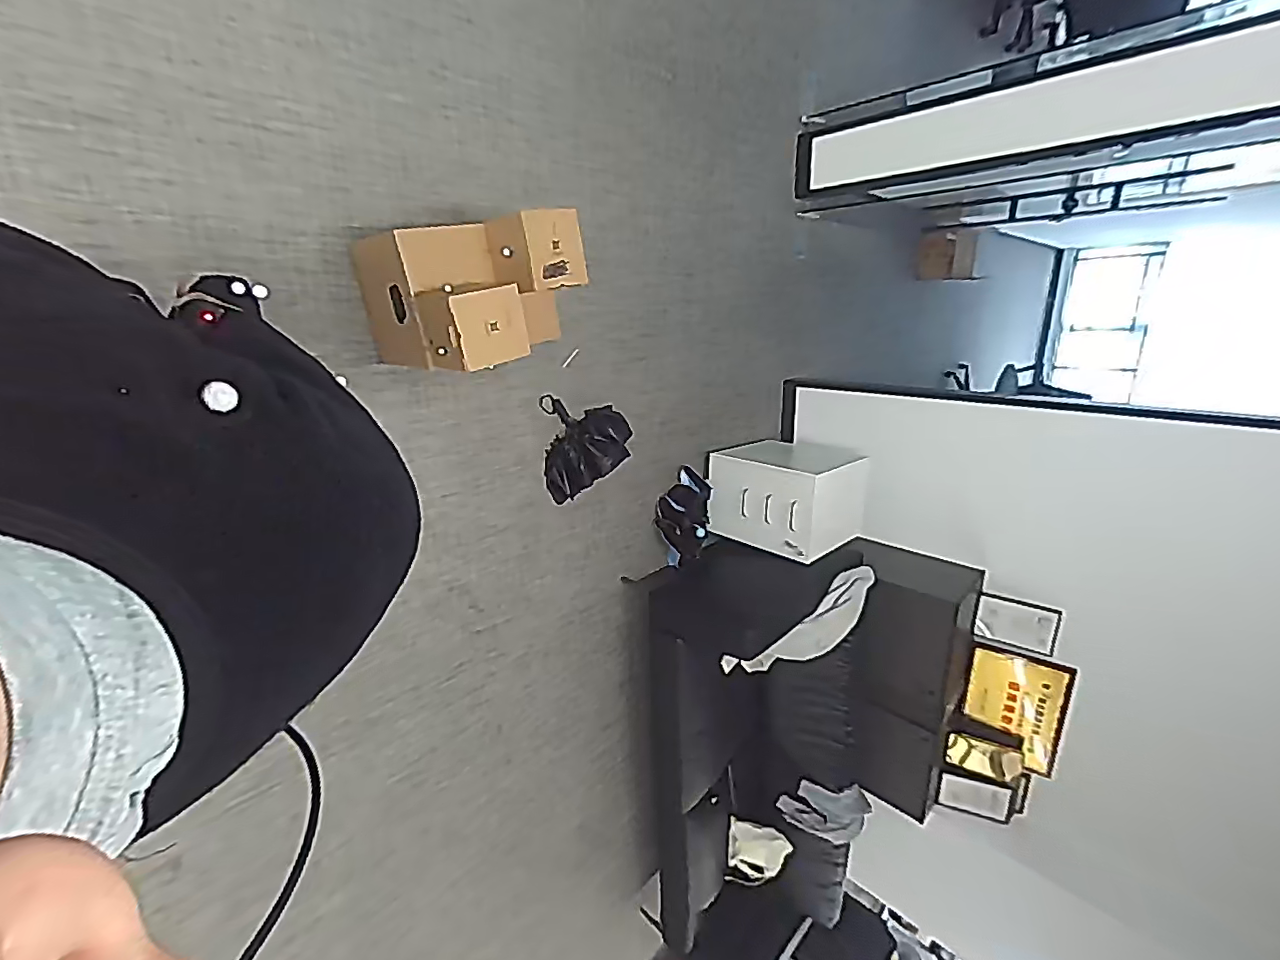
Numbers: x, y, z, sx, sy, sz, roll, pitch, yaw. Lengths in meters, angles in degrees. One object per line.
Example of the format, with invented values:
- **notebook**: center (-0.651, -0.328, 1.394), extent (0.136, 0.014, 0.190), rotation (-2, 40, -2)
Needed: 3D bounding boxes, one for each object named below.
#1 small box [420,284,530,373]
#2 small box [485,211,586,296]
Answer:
- **small box**: center (-0.390, -0.357, 1.263), extent (0.179, 0.176, 0.168), rotation (-31, 125, -38)
- **small box**: center (-0.260, -0.557, 1.341), extent (0.168, 0.176, 0.179), rotation (-26, 116, -40)
